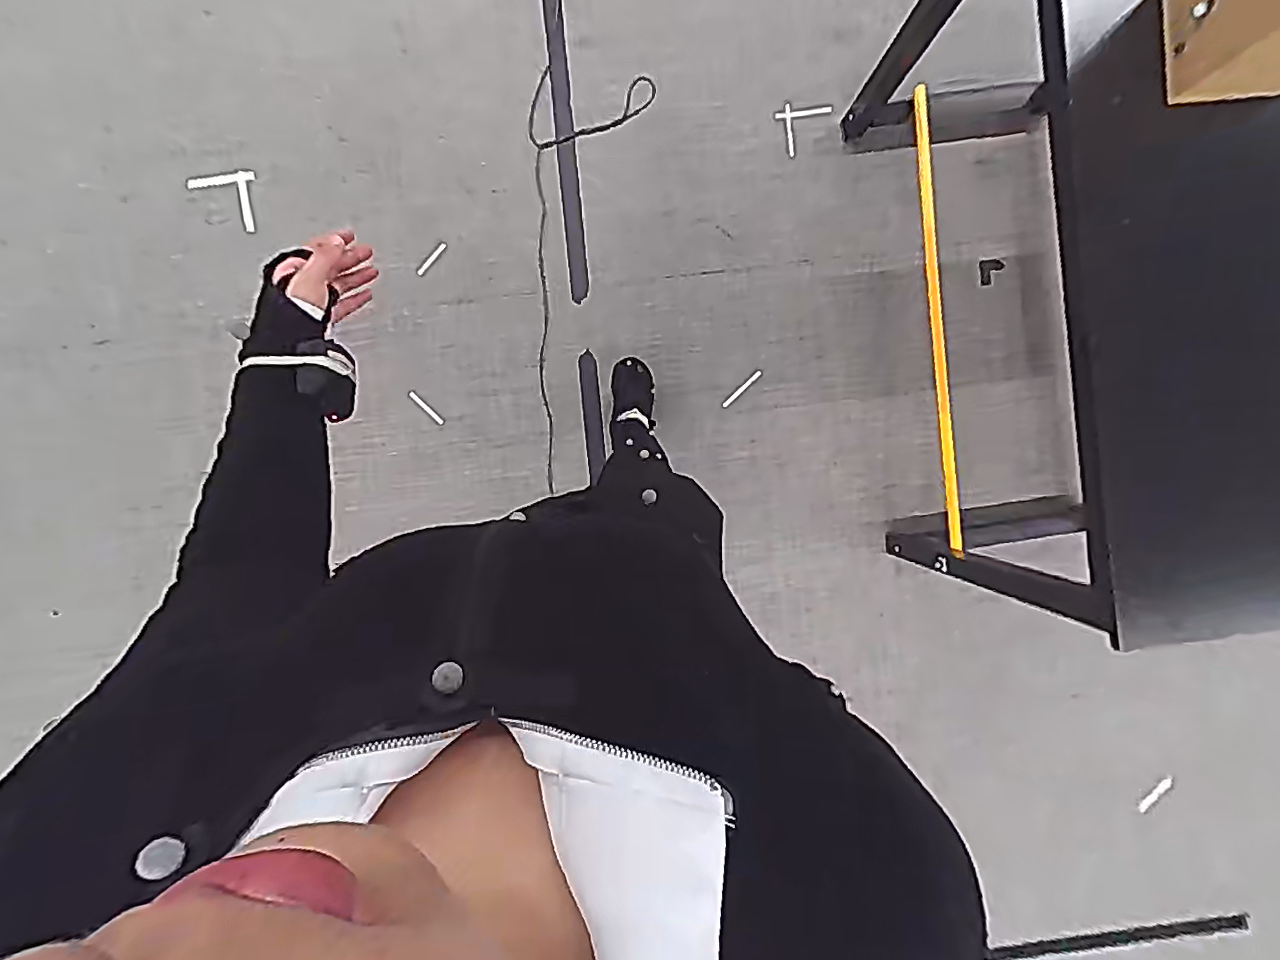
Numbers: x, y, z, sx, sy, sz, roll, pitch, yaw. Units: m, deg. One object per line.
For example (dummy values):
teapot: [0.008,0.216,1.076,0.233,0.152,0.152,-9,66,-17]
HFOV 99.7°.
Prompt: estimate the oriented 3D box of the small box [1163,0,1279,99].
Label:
small box: [0.807,-0.608,0.664,0.179,0.176,0.168,-5,92,-1]
